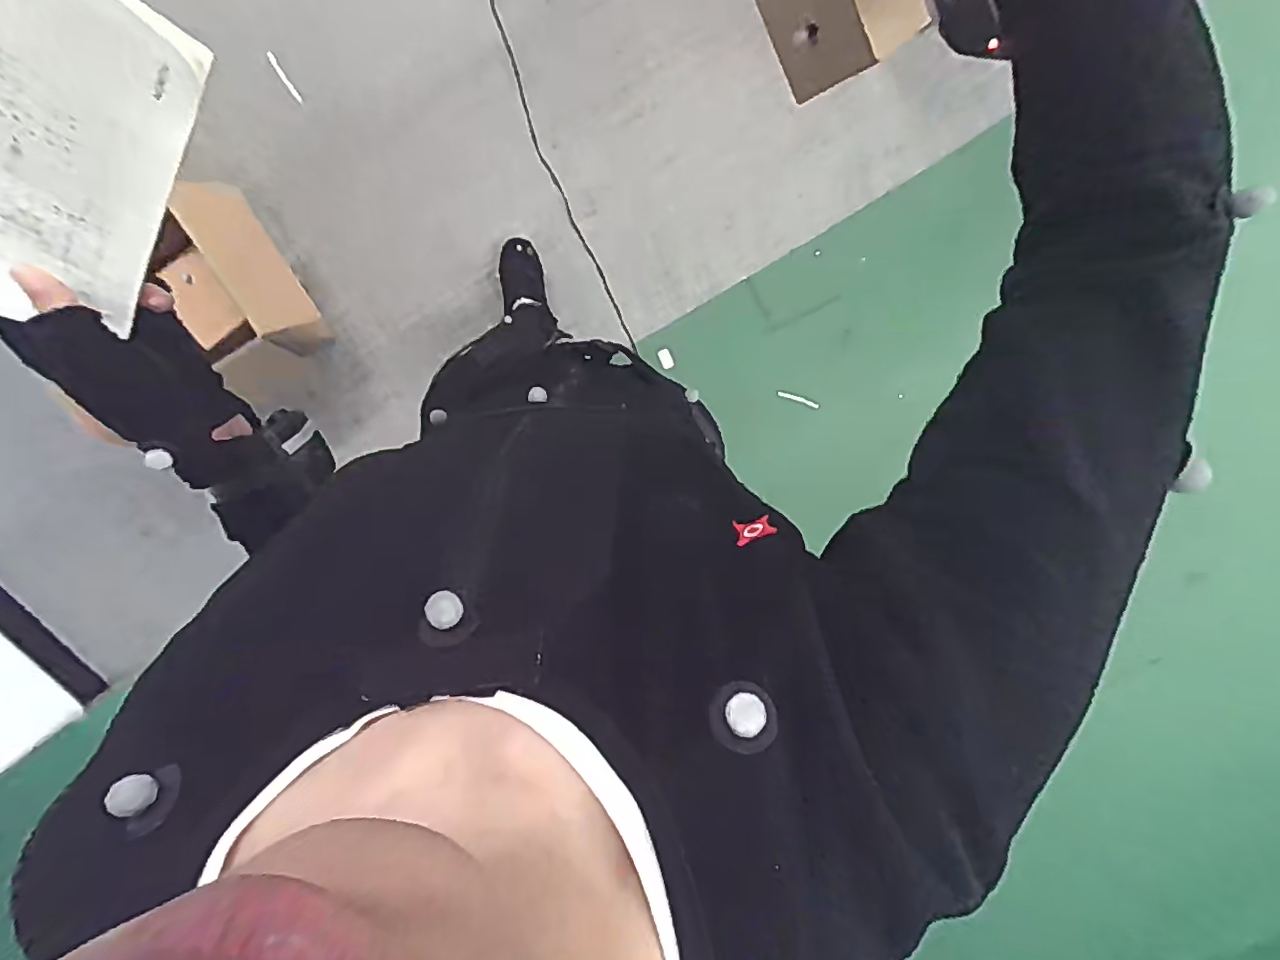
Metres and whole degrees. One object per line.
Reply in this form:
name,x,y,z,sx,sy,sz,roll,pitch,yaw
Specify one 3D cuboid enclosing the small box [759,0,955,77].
small box,0.177,-0.430,0.387,0.168,0.176,0.179,-30,115,10
